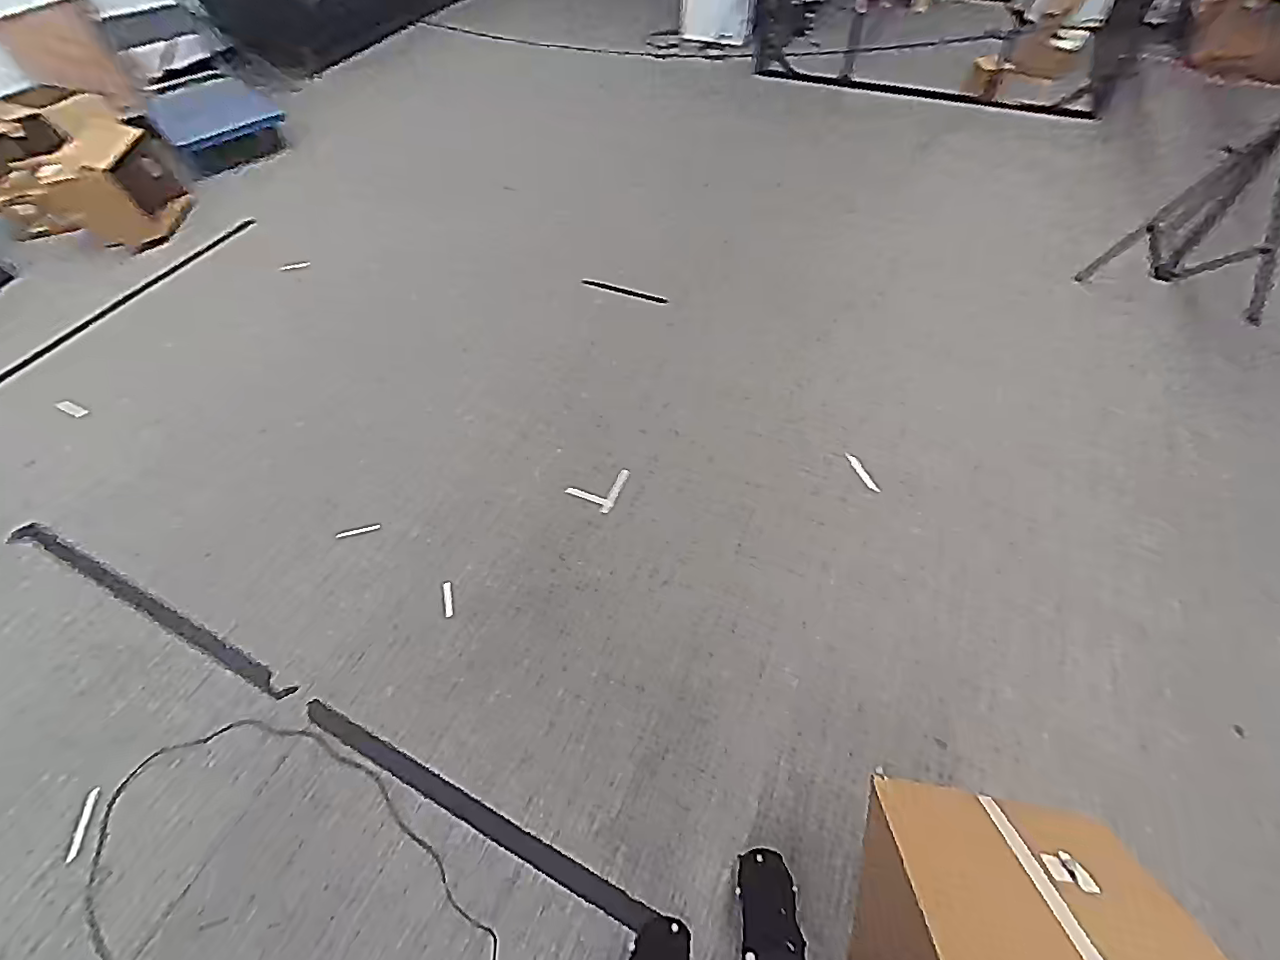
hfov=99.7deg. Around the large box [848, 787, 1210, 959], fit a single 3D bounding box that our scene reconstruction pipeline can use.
[{"bbox_3d":[0.456,0.650,0.631,0.320,0.408,0.320,7,94,10],"label":"large box"}]
